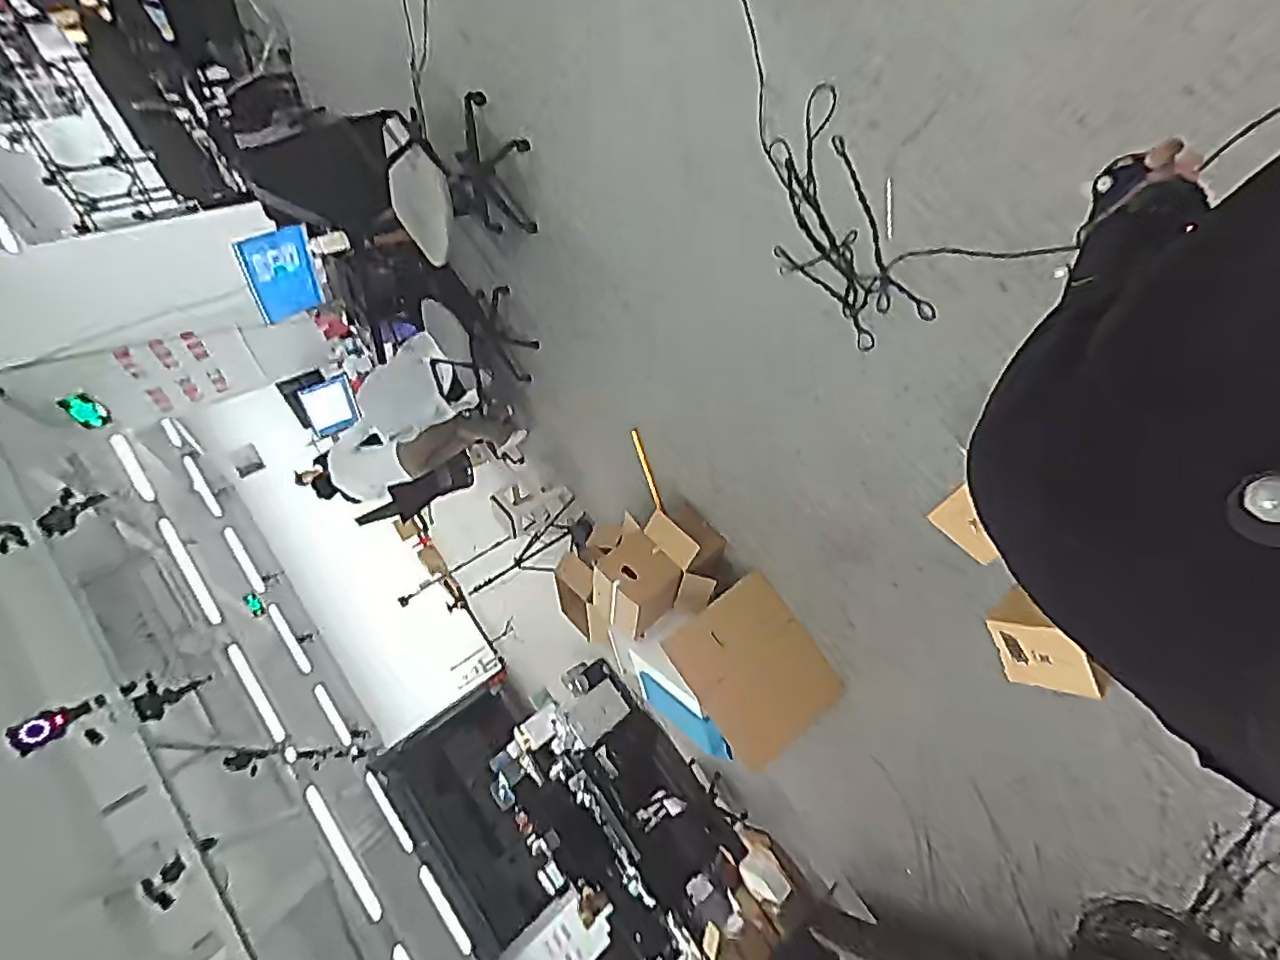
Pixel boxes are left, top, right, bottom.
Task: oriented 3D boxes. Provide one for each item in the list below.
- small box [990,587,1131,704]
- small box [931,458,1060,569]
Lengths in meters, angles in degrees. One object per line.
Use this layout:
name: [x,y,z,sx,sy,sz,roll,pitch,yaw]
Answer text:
small box: [0.912,0.347,1.174,0.179,0.176,0.168,-12,106,59]
small box: [0.870,0.078,1.322,0.179,0.176,0.168,46,148,20]
